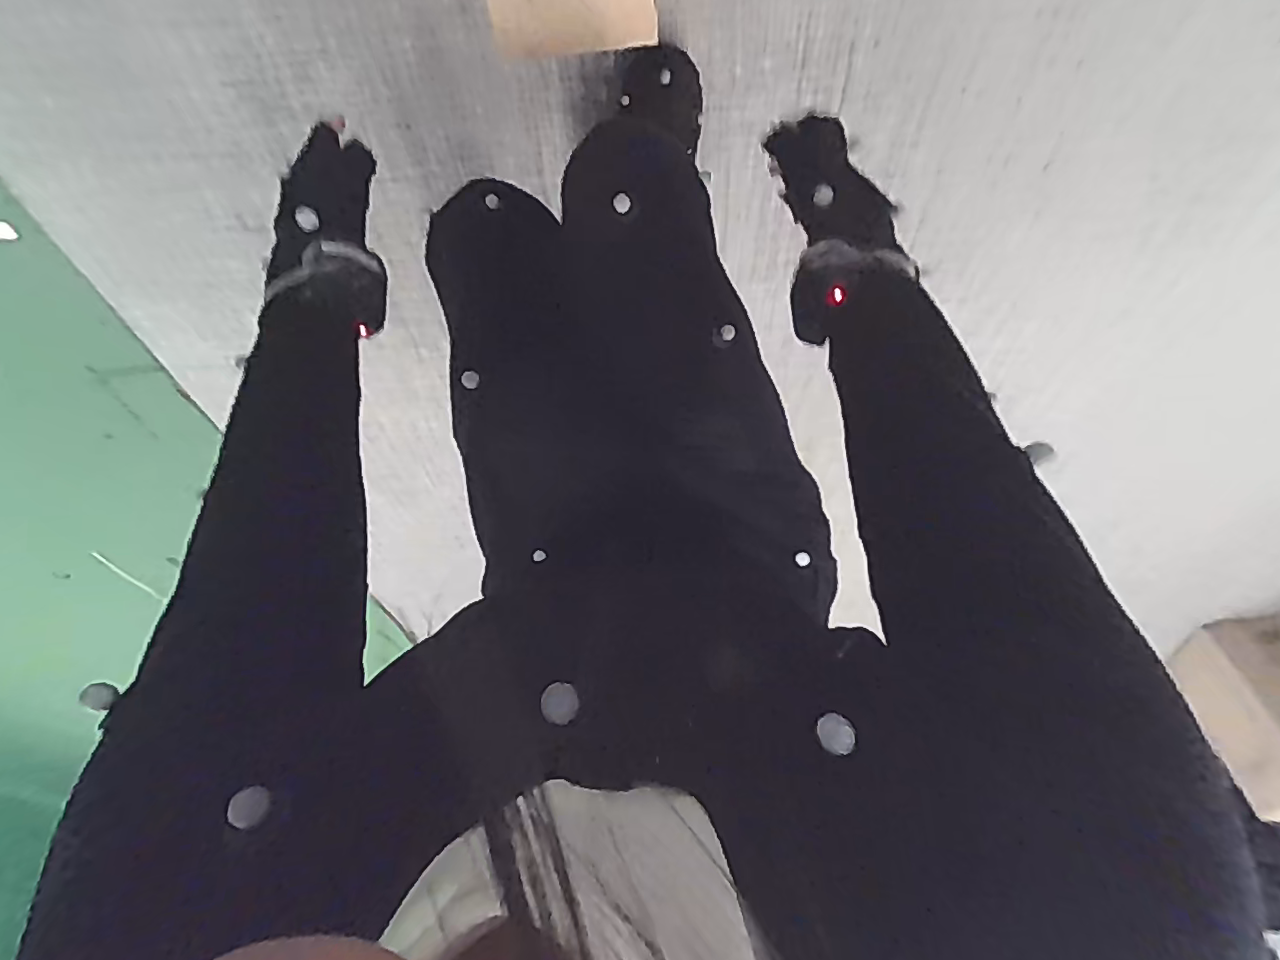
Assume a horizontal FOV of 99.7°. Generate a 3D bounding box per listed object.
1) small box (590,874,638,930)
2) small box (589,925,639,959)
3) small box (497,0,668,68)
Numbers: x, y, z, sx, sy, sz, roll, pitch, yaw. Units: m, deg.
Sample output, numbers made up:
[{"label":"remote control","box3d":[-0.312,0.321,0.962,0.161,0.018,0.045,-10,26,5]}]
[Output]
[{"label":"small box","box3d":[-0.102,1.694,2.167,0.179,0.176,0.168,-4,141,2]},{"label":"small box","box3d":[-0.097,1.804,2.049,0.179,0.176,0.168,-5,139,3]},{"label":"small box","box3d":[-0.065,-0.578,0.585,0.179,0.176,0.168,-4,139,5]}]
